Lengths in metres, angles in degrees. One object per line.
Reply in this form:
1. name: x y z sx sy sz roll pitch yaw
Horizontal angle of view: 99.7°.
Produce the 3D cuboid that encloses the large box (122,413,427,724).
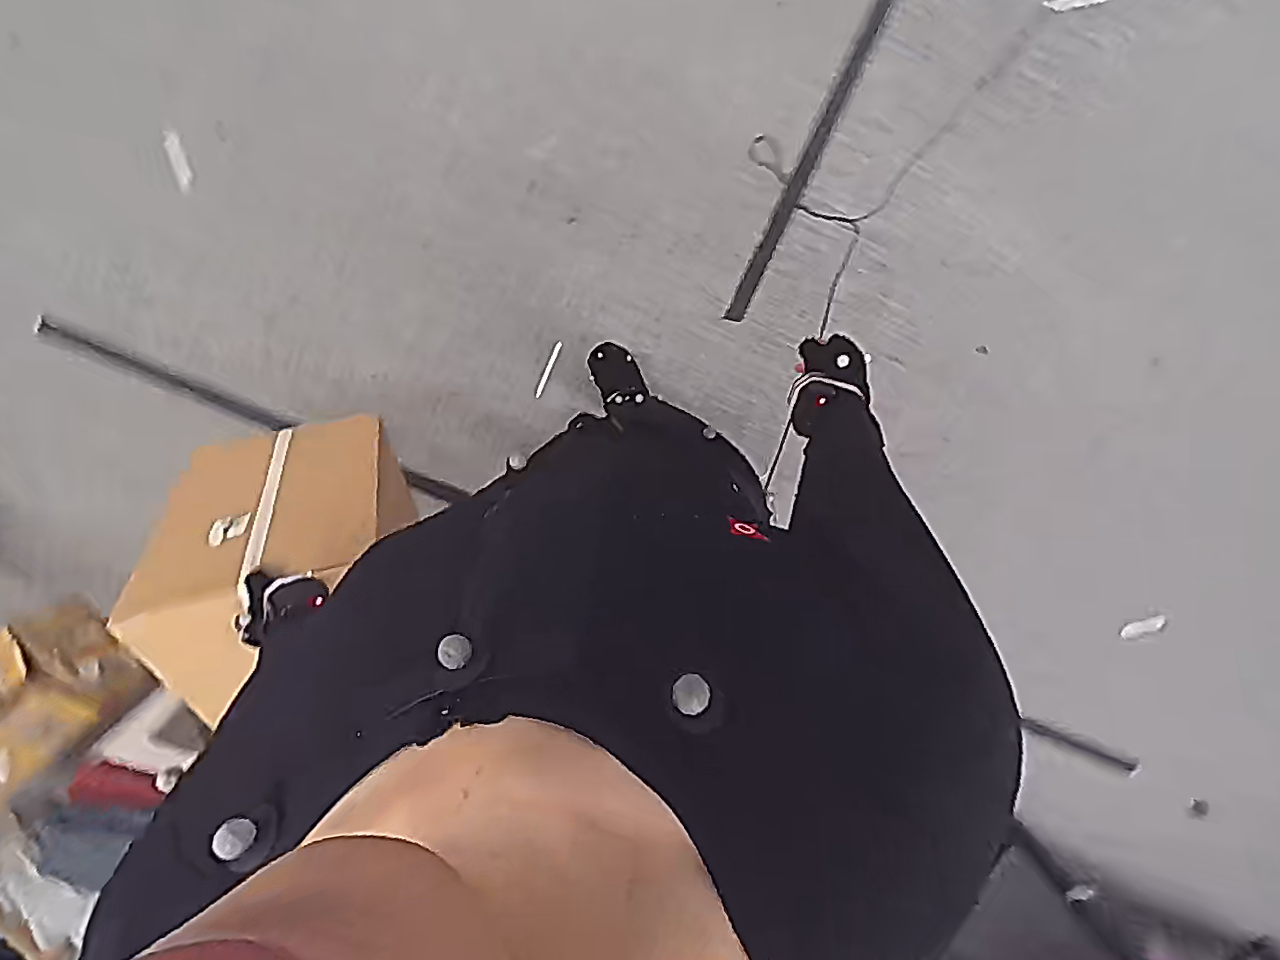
1. large box: -0.580 0.133 0.956 0.320 0.408 0.320 -13 131 -14
